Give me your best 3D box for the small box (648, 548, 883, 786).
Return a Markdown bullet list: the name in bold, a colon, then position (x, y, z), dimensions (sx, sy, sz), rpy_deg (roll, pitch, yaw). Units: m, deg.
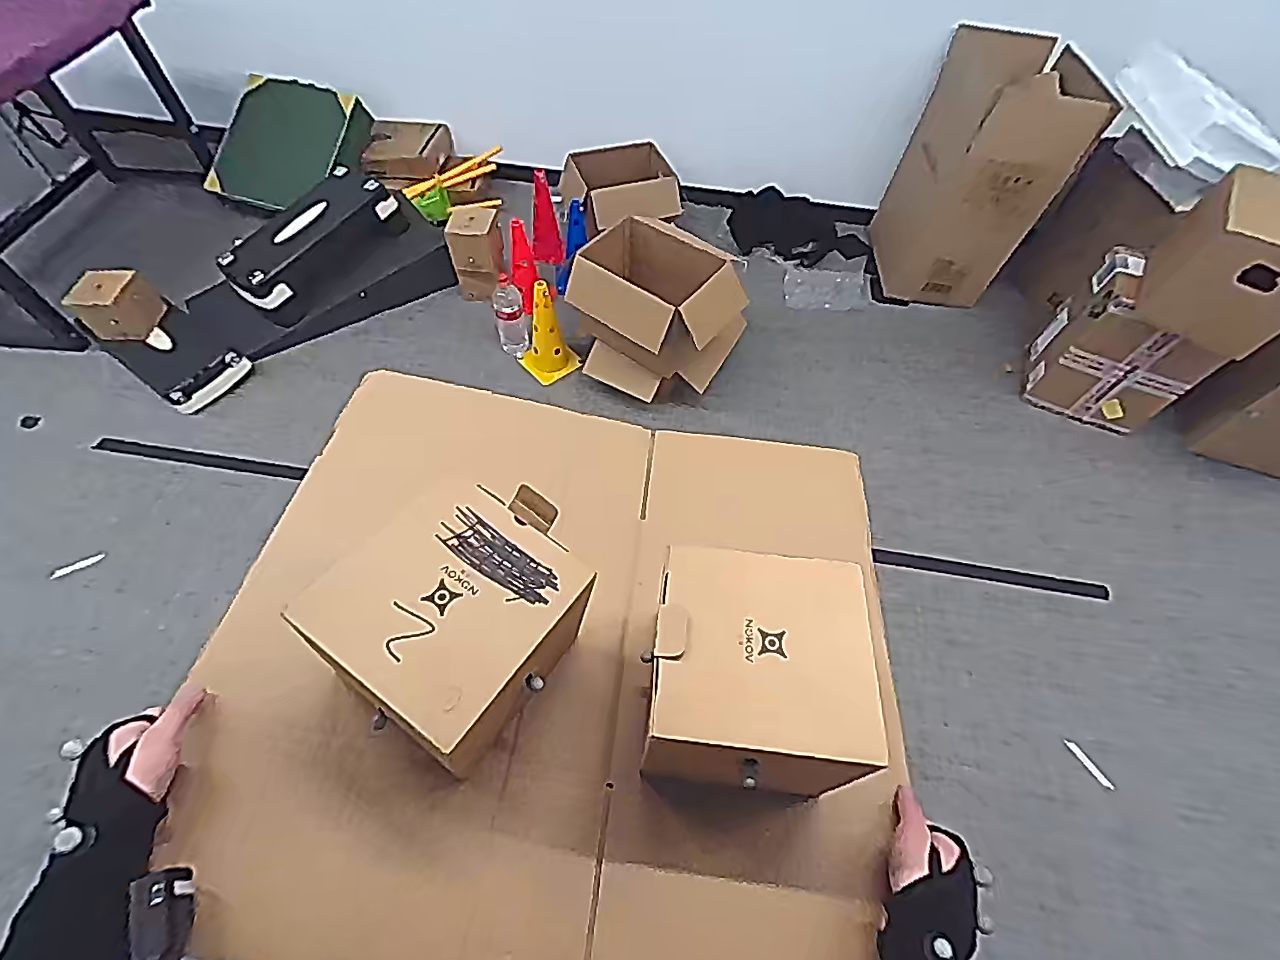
- **small box**: position (0.104, 0.185, 0.519), dimensions (0.179, 0.176, 0.168), rpy_deg (6, 54, 3)
